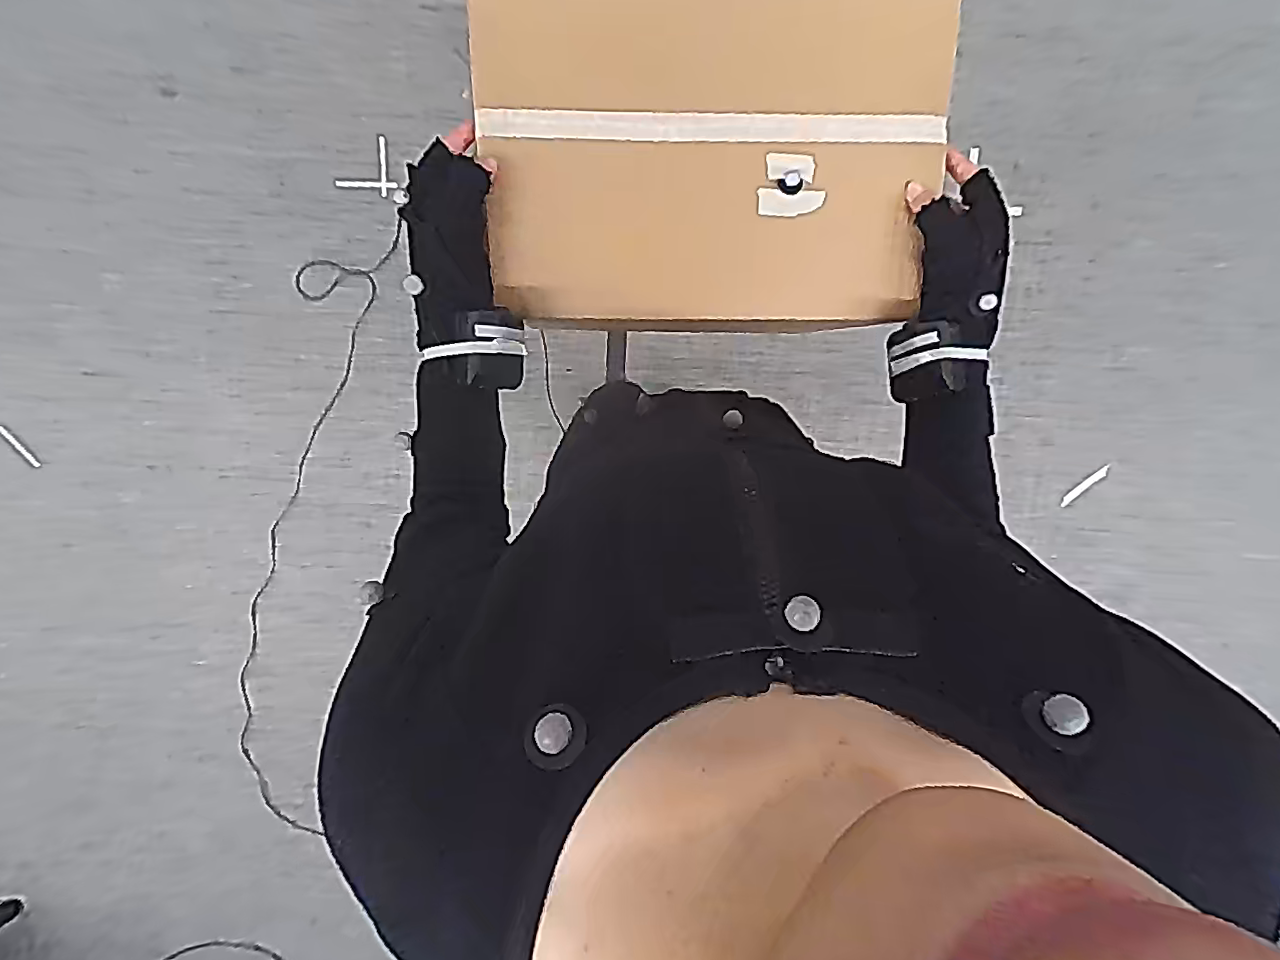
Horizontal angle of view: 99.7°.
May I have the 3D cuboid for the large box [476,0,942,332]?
[{"bbox_3d":[0.054,-0.340,0.622,0.408,0.320,0.320,0,103,-3],"label":"large box"}]
